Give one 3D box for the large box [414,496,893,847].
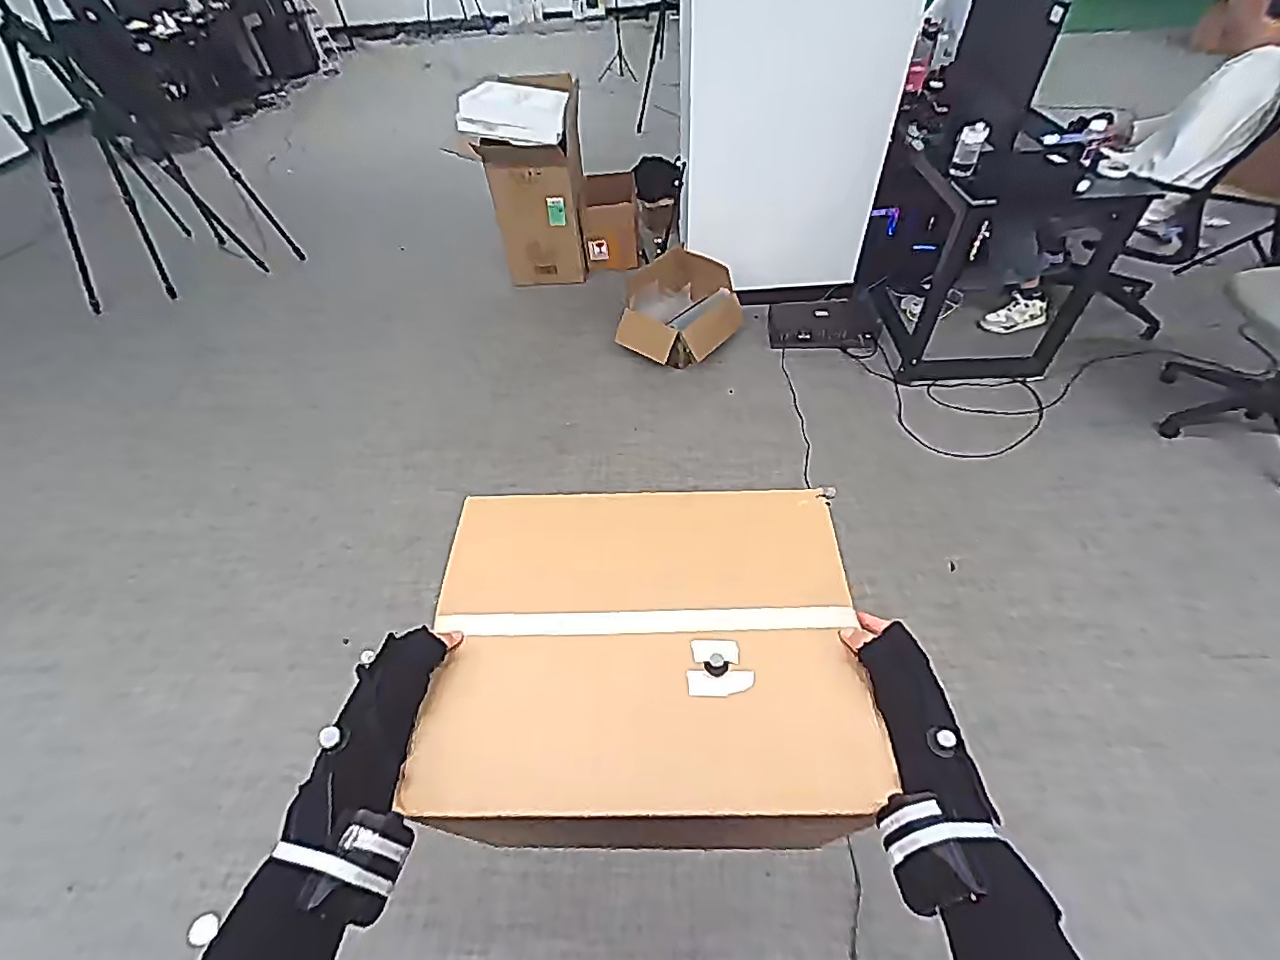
[{"bbox_3d":[0.012,0.236,0.649,0.408,0.320,0.320,-1,52,2],"label":"large box"}]
